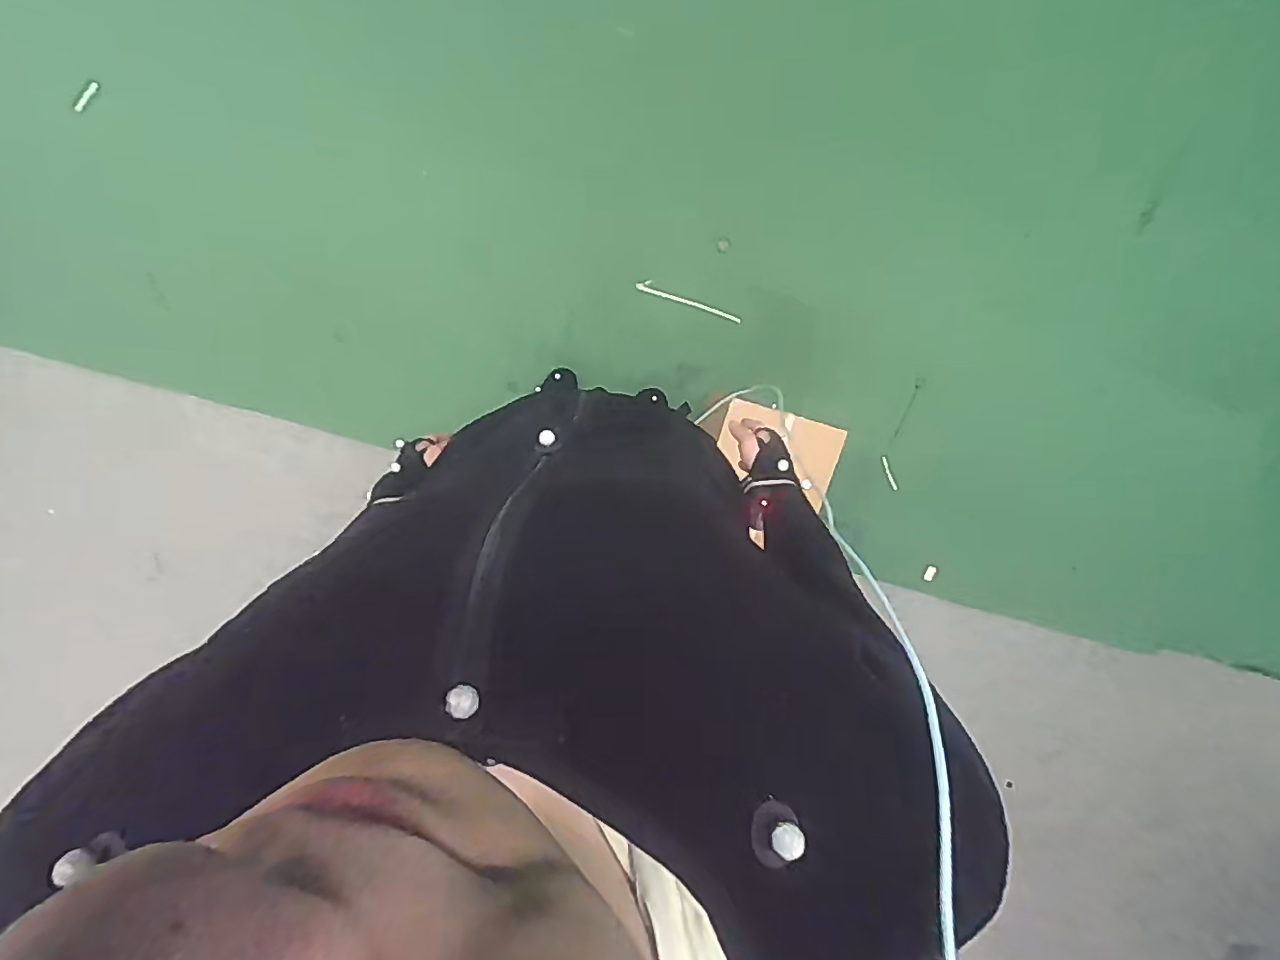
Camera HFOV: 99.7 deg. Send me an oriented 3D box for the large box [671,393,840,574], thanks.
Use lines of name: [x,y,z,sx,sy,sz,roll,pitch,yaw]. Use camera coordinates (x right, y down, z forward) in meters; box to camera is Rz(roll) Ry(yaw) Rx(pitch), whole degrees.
large box: [0.302,-0.006,1.530,0.320,0.320,0.408,15,101,-7]
